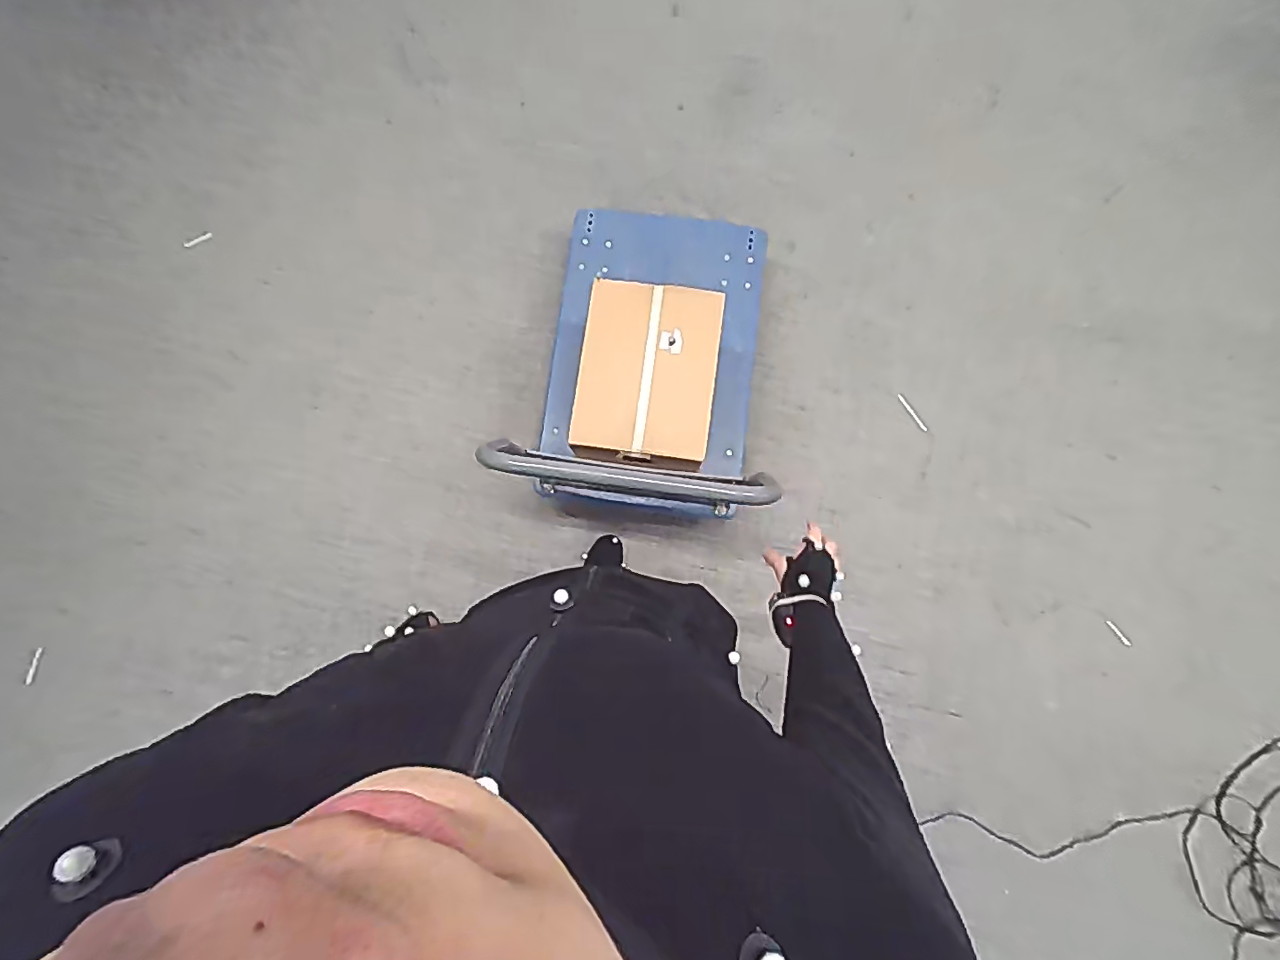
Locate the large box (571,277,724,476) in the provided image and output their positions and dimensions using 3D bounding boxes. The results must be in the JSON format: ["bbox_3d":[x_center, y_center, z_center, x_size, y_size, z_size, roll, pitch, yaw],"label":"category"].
[{"bbox_3d":[0.024,-0.241,1.376,0.320,0.320,0.408,8,82,2],"label":"large box"}]
